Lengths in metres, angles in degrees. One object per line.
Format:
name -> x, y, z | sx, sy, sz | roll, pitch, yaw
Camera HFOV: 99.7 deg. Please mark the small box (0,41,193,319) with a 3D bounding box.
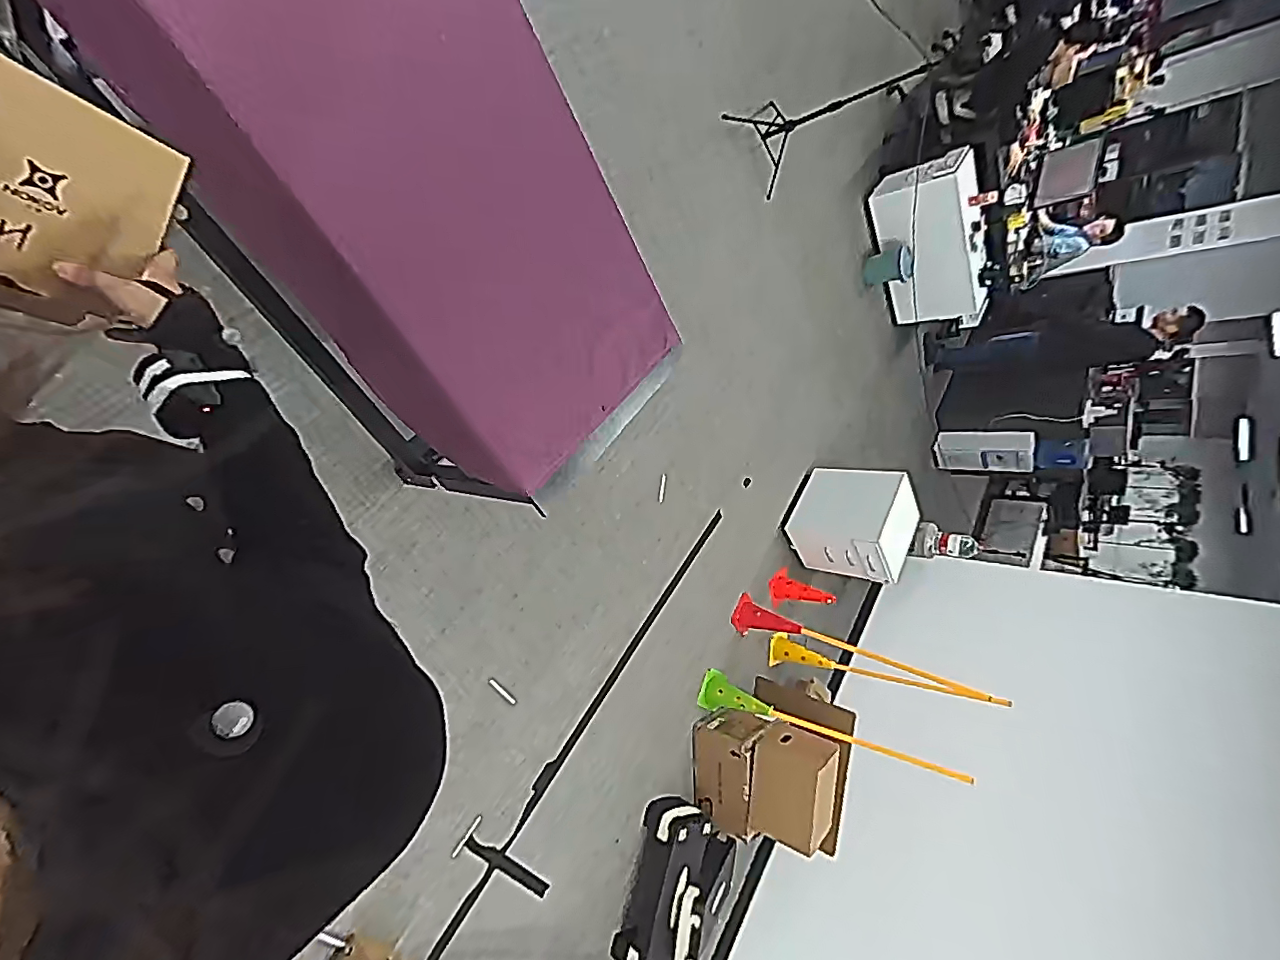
small box -> -0.566, -0.272, 0.504 | 0.168, 0.176, 0.179 | 21, 88, -53
